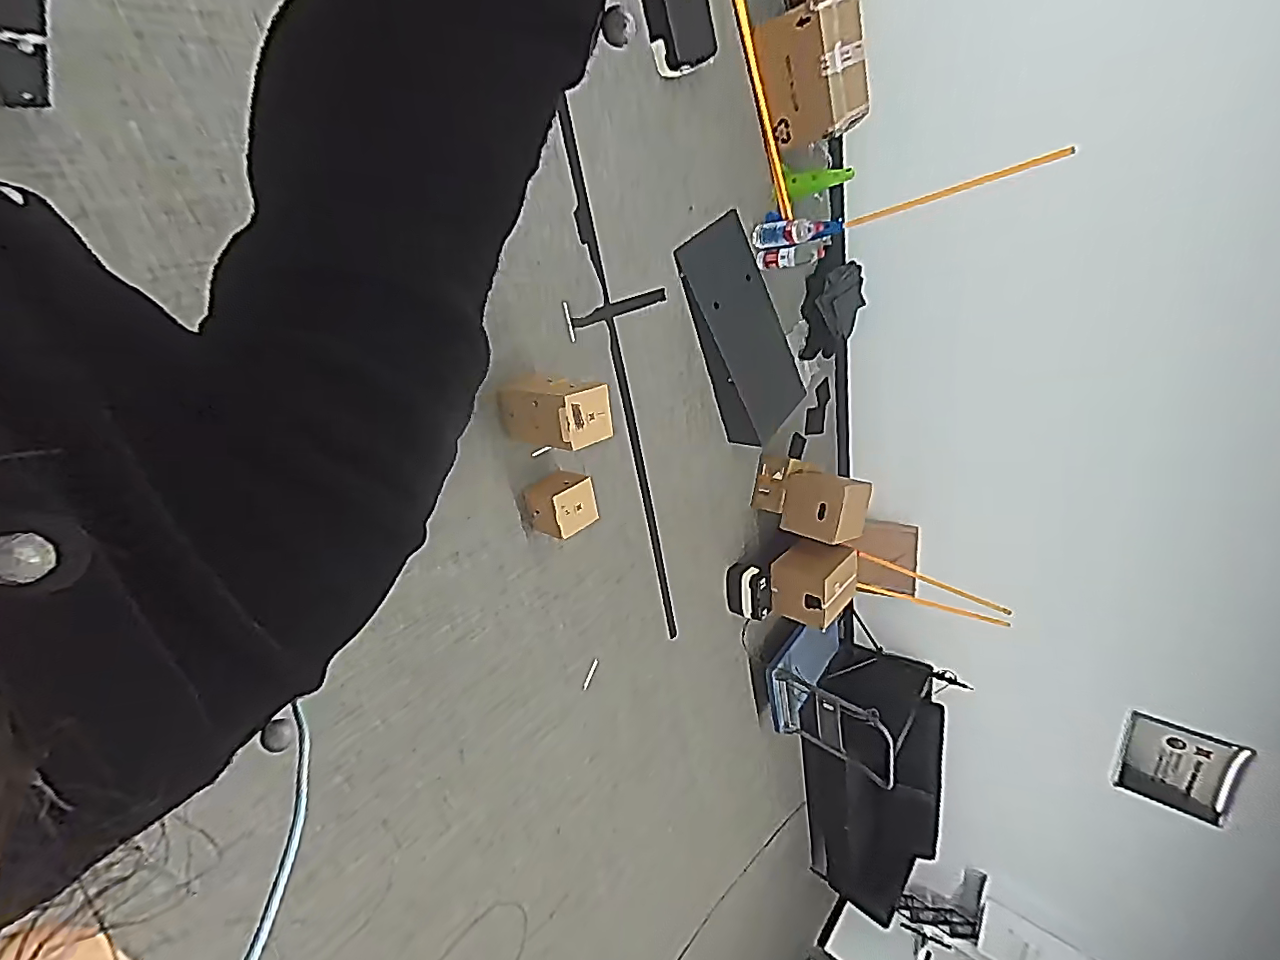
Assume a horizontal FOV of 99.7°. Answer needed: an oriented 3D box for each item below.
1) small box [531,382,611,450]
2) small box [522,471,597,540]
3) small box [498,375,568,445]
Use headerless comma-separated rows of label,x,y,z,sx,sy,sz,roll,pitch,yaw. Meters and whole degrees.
small box,-0.215,-0.199,1.641,0.179,0.176,0.168,-26,119,-43
small box,-0.281,0.082,1.891,0.179,0.176,0.168,-31,121,-40
small box,-0.334,-0.233,1.751,0.168,0.176,0.179,-31,123,-40
